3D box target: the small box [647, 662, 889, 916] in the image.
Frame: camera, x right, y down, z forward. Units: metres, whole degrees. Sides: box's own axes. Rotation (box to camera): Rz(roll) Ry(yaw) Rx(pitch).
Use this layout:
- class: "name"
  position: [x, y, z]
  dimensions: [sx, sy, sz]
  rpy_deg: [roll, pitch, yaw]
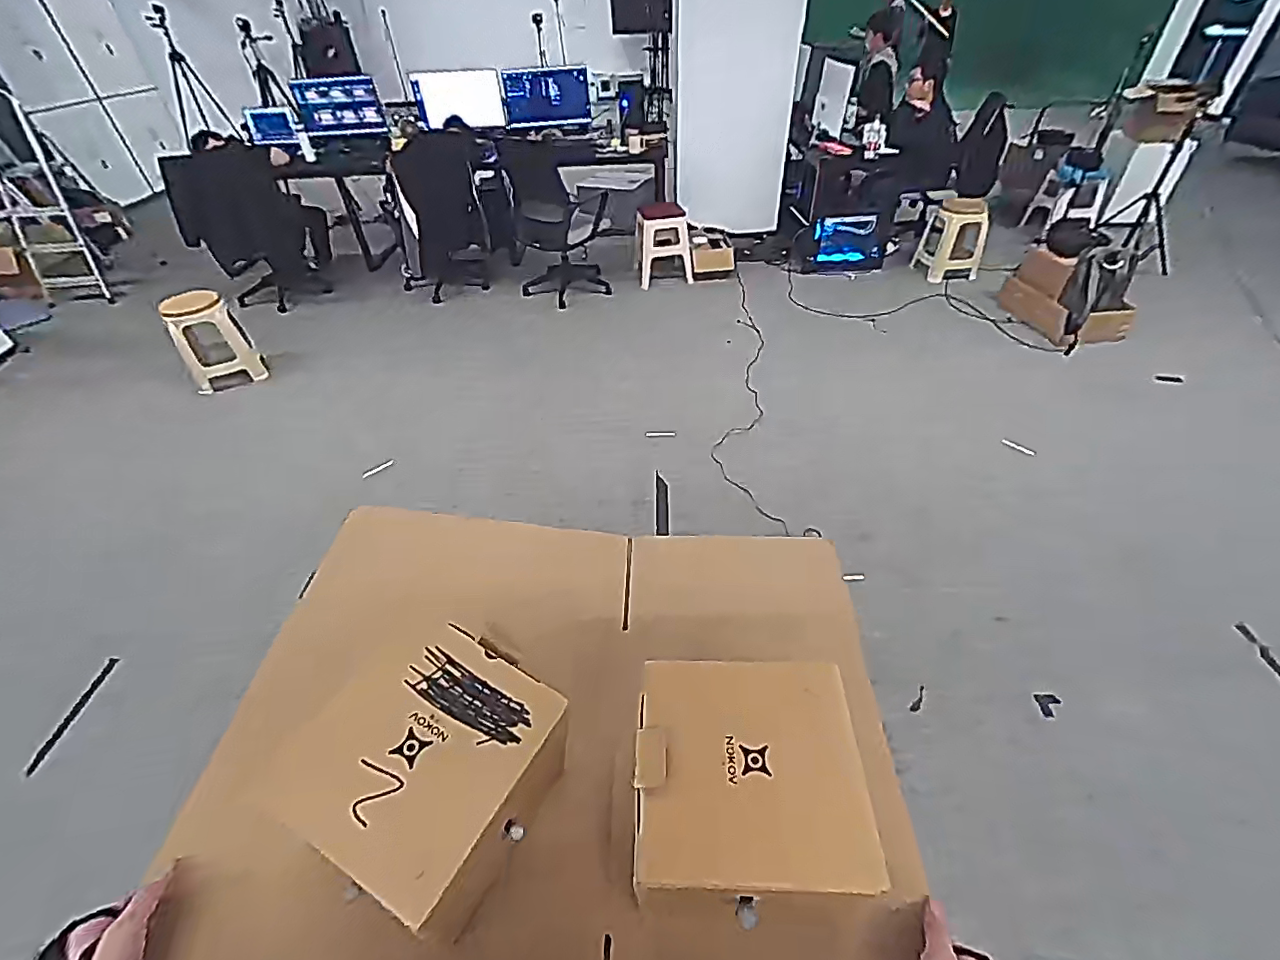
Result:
- class: "small box"
  position: [0.097, 0.284, 0.497]
  dimensions: [0.179, 0.176, 0.168]
  rpy_deg: [-1, 44, 3]
